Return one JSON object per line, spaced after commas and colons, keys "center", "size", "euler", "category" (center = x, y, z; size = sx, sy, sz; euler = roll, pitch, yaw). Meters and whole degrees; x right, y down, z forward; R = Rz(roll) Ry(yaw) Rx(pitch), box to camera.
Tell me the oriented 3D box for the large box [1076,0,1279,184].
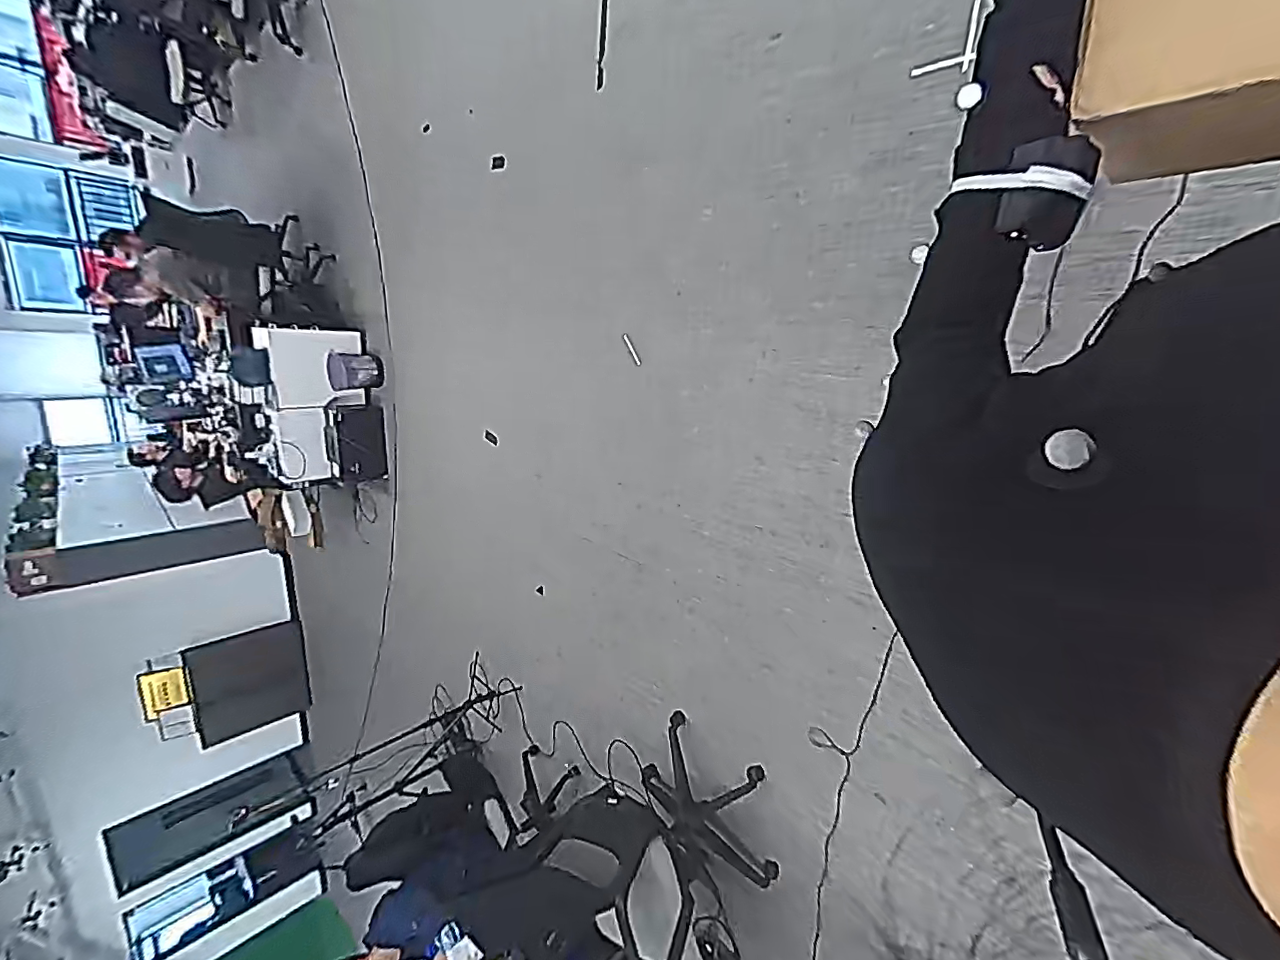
{"center": [0.557, -0.411, 0.331], "size": [0.408, 0.320, 0.320], "euler": [13, 113, 42], "category": "large box"}
